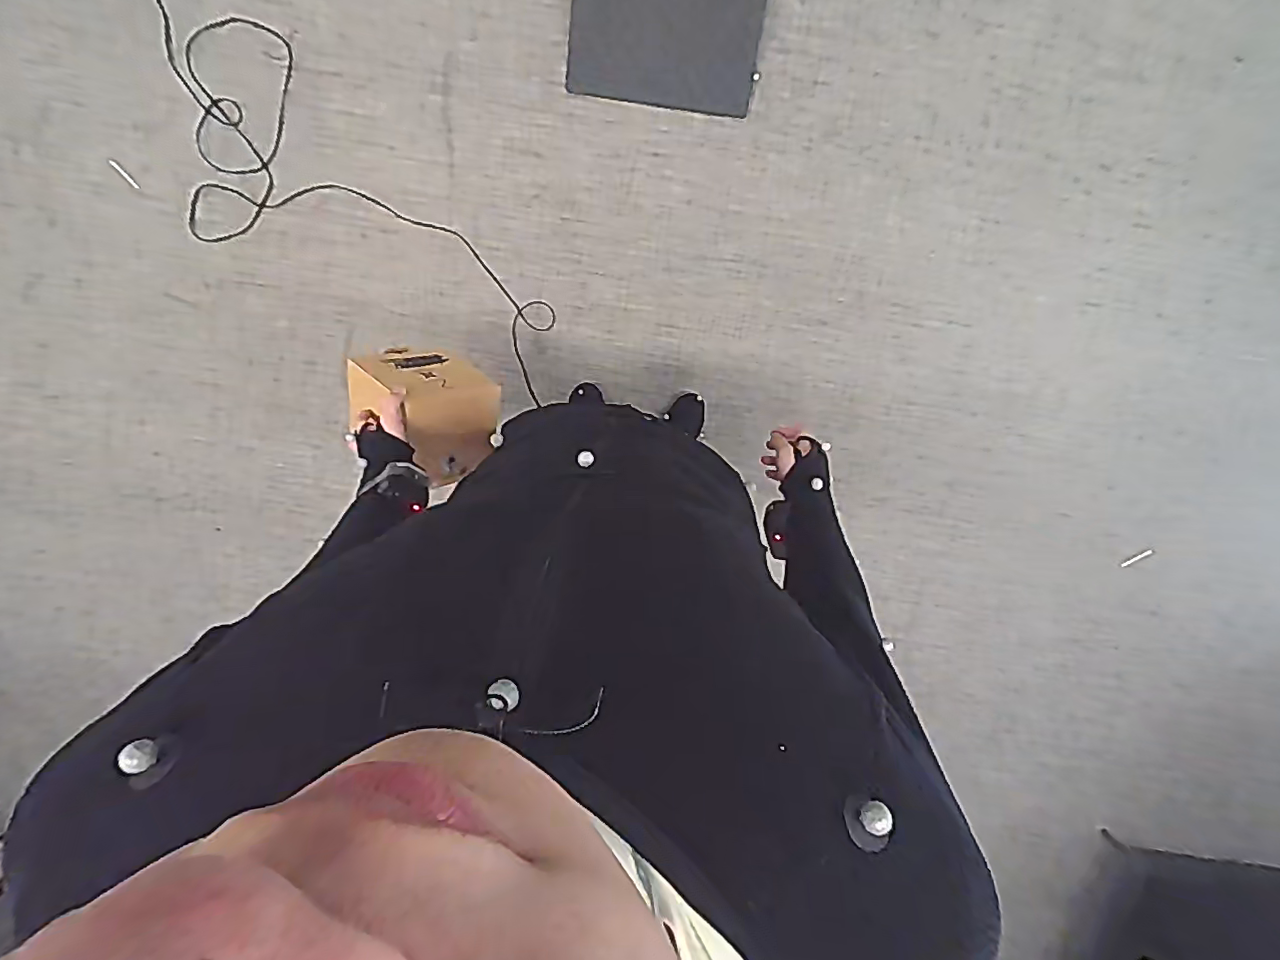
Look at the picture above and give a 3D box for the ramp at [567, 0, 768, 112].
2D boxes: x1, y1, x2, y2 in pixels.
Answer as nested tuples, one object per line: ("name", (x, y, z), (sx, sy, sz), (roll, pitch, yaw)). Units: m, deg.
("ramp", (0.113, -1.464, 1.247), (0.509, 0.206, 0.991), (6, 102, -2))
